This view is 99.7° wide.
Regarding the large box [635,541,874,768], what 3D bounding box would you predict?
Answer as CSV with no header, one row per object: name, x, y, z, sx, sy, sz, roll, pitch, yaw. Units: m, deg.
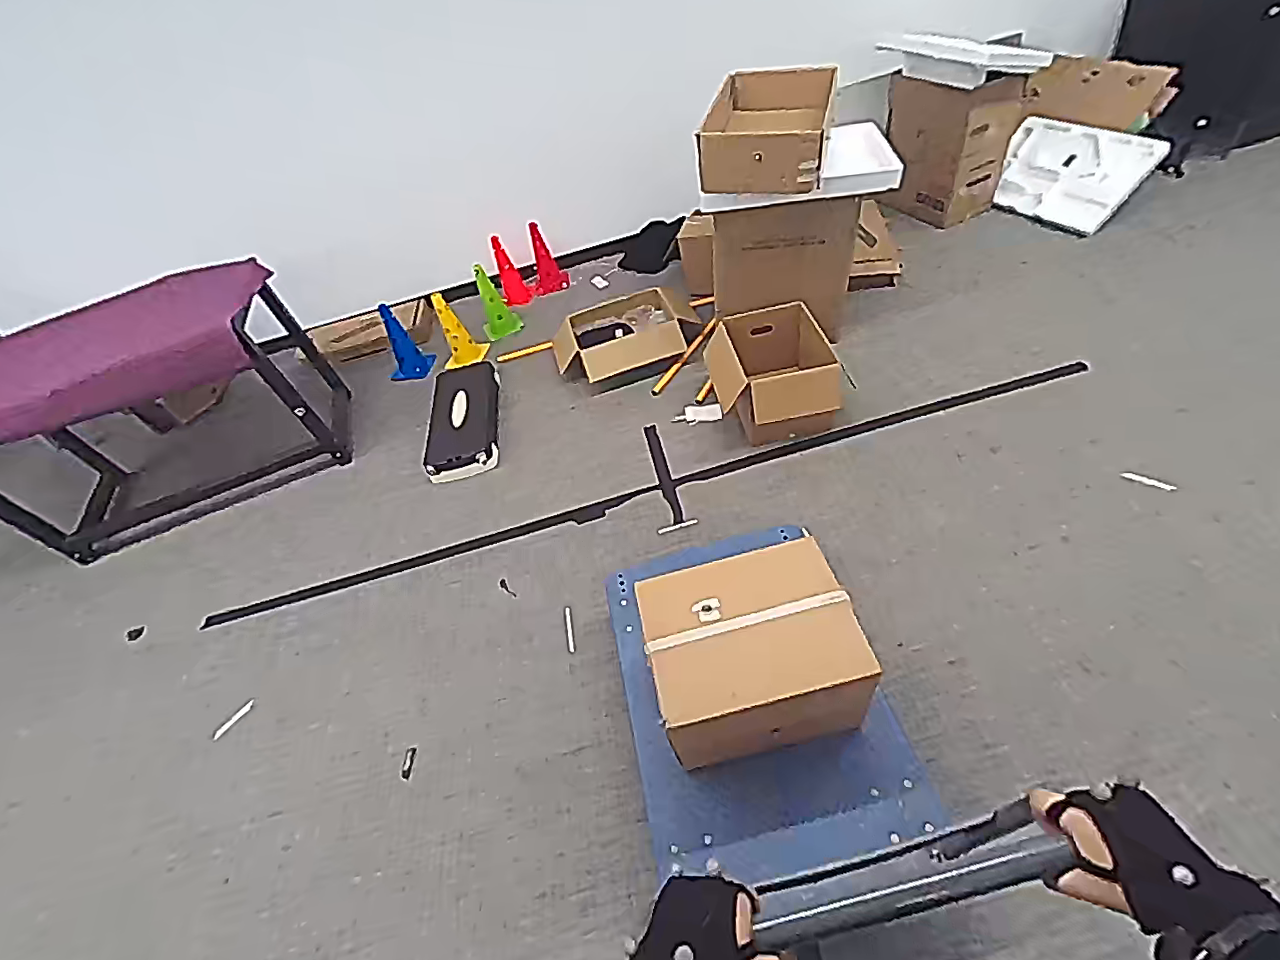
large box,0.239,0.391,1.197,0.408,0.320,0.320,-16,47,1
